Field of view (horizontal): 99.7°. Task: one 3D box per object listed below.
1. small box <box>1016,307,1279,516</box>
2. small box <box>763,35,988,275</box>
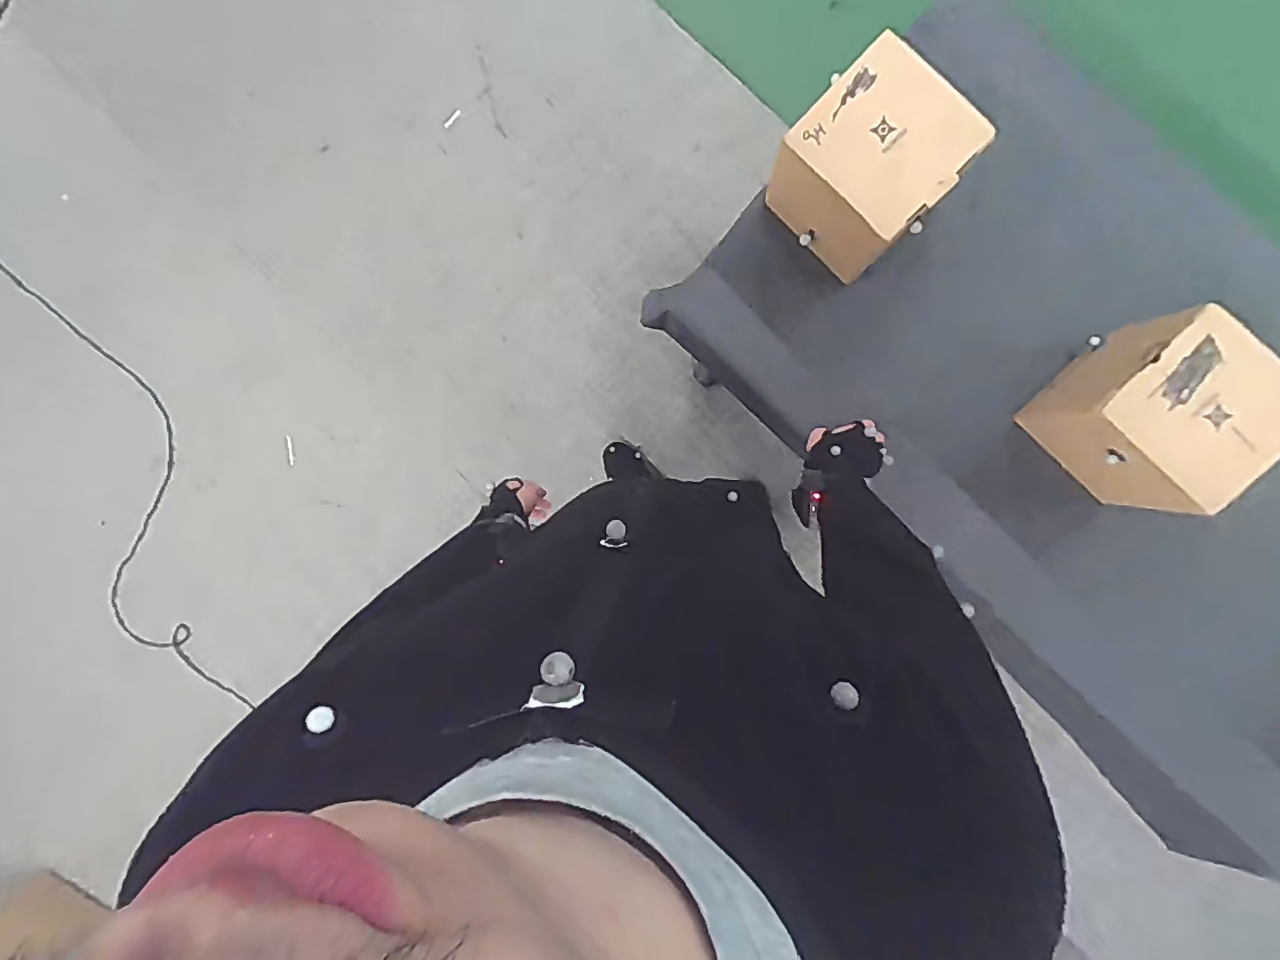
[{"bbox_3d":[0.630,-0.078,0.675,0.179,0.176,0.168,45,97,1],"label":"small box"},{"bbox_3d":[0.282,-0.390,0.693,0.168,0.176,0.179,-44,89,6],"label":"small box"}]
